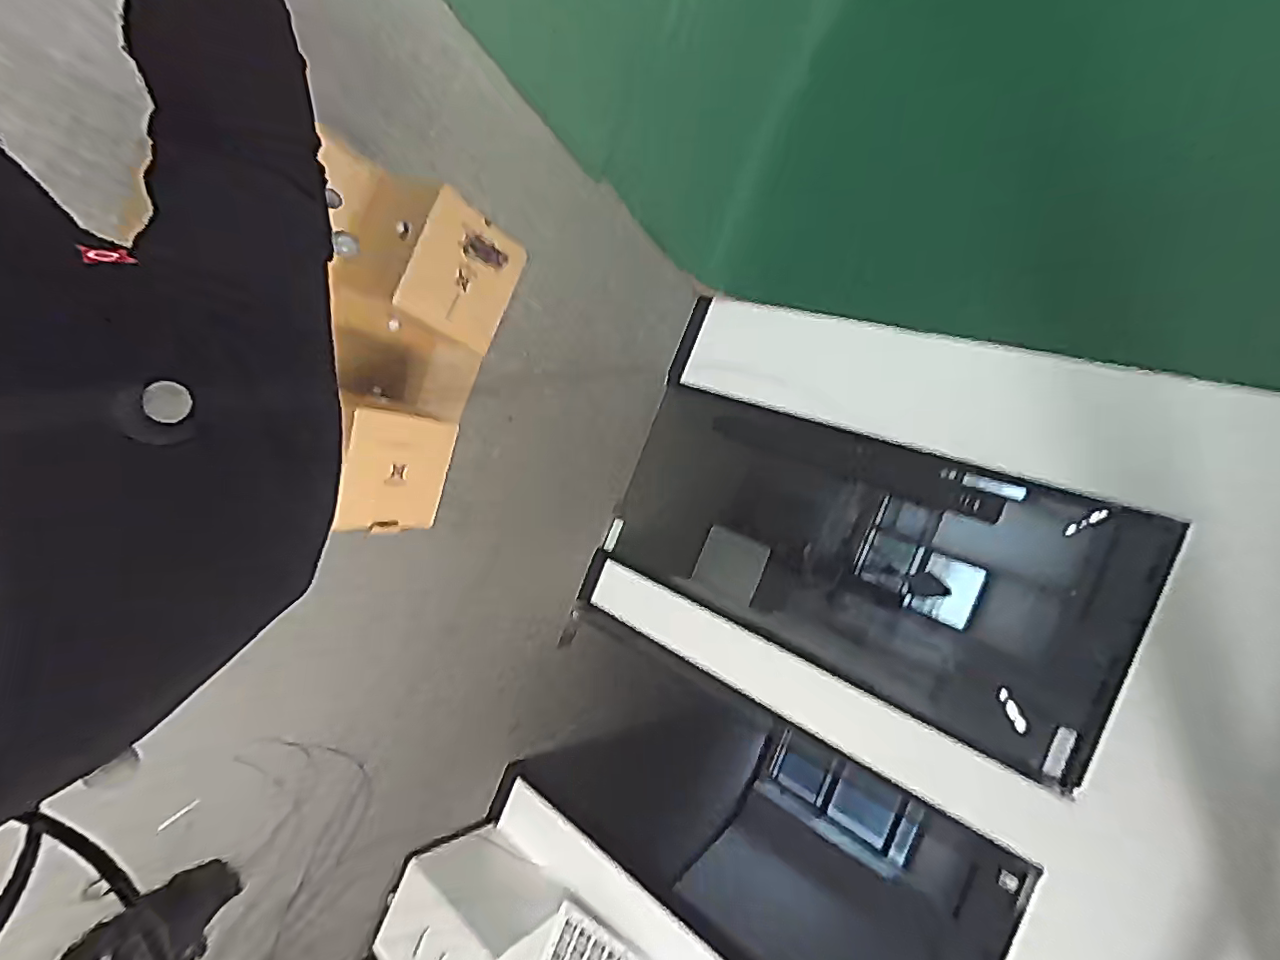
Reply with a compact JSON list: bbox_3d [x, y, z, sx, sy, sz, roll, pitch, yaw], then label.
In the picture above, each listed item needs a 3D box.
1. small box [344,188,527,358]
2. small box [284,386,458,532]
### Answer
[{"bbox_3d":[-0.310,-0.310,0.815,0.168,0.176,0.179,25,88,-56],"label":"small box"},{"bbox_3d":[-0.415,-0.031,0.830,0.168,0.176,0.179,6,103,-56],"label":"small box"}]
